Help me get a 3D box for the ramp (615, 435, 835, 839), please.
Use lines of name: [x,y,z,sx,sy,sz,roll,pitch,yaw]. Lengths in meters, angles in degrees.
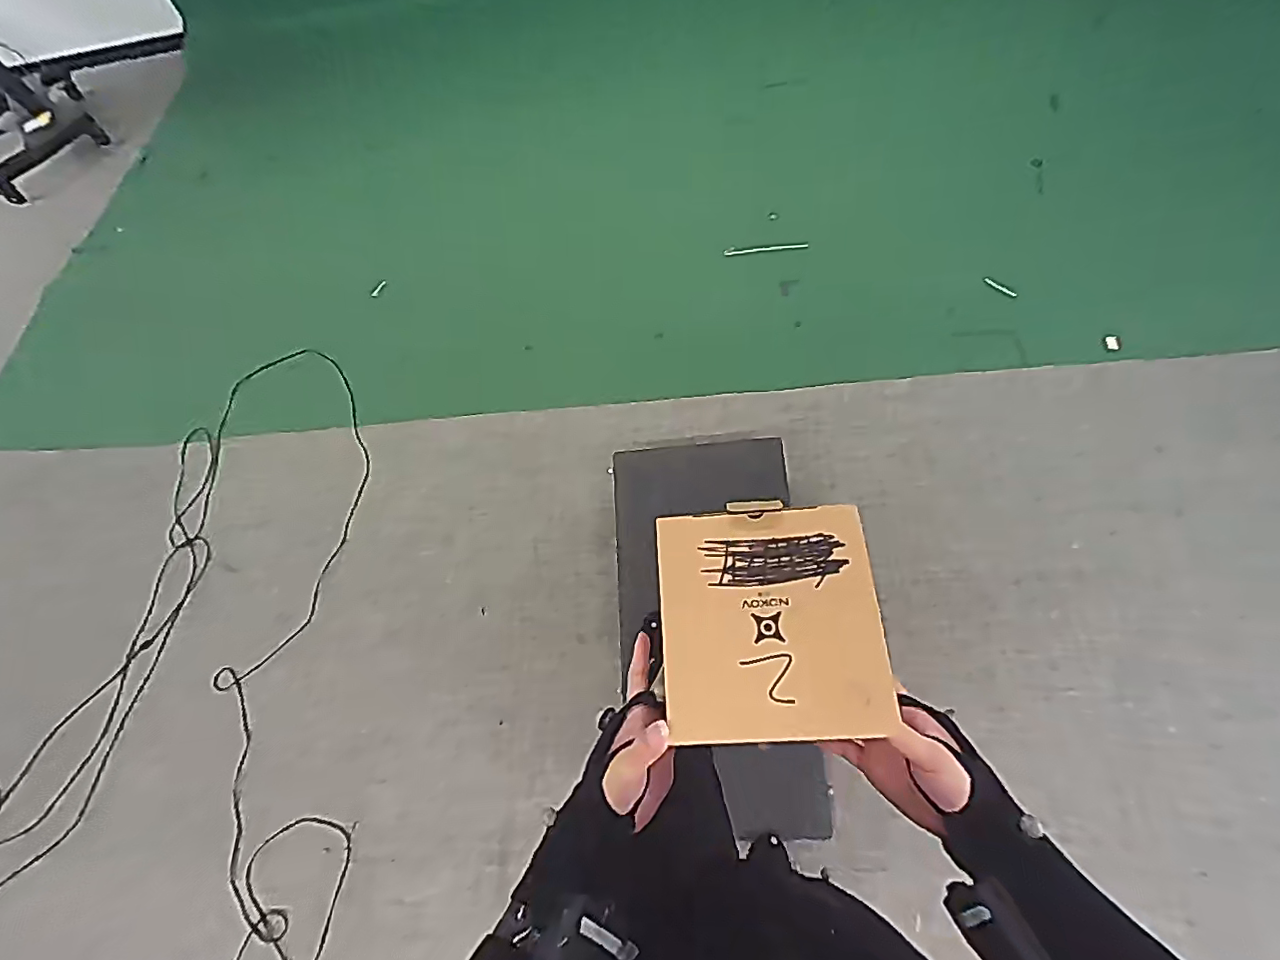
ramp: [0.194,0.373,1.422,0.509,0.206,0.991,-6,64,5]
